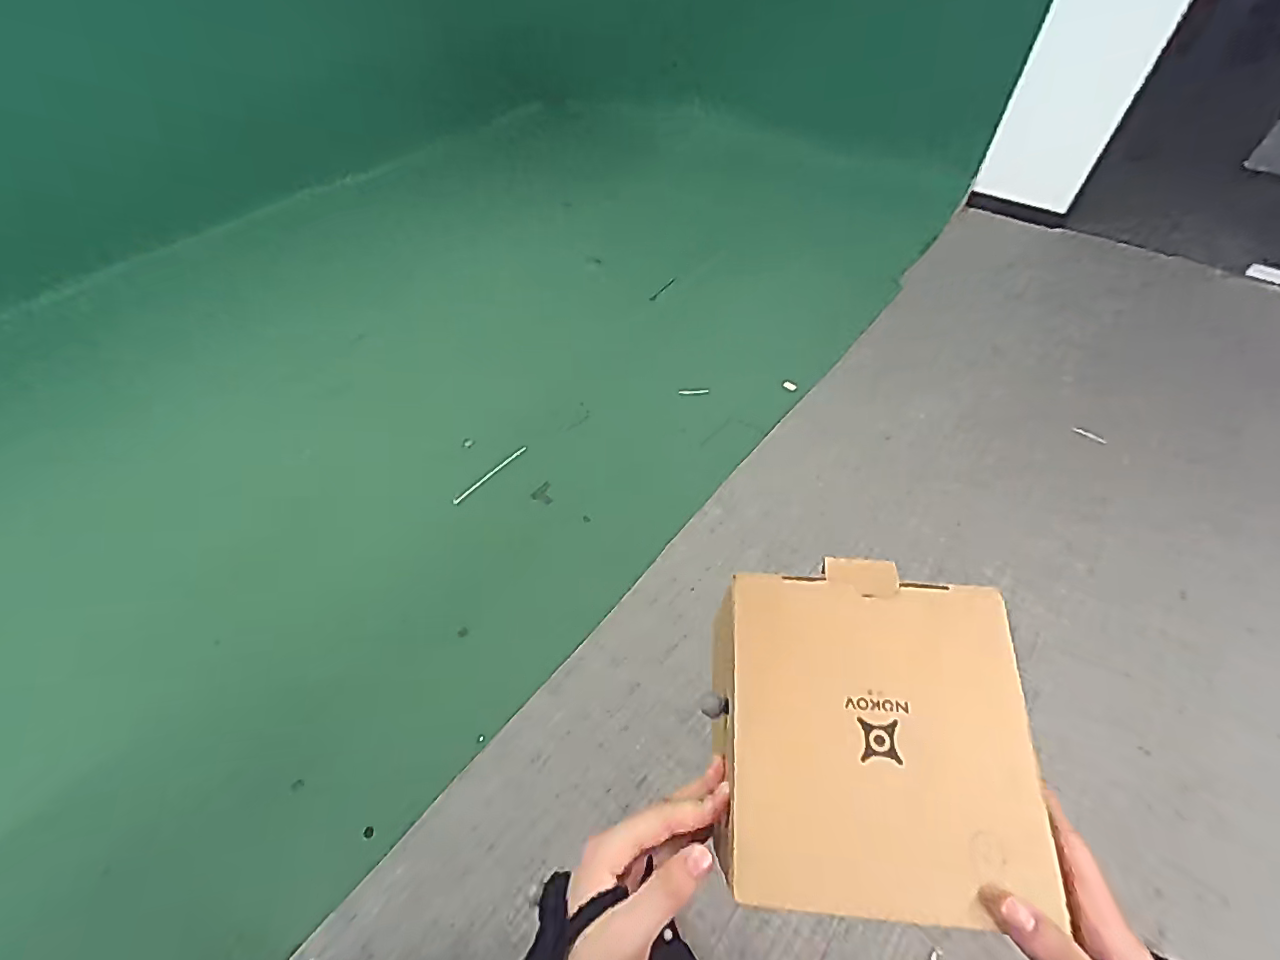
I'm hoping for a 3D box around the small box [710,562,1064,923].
[{"bbox_3d":[0.139,0.168,0.378,0.168,0.176,0.179,2,65,4],"label":"small box"}]
